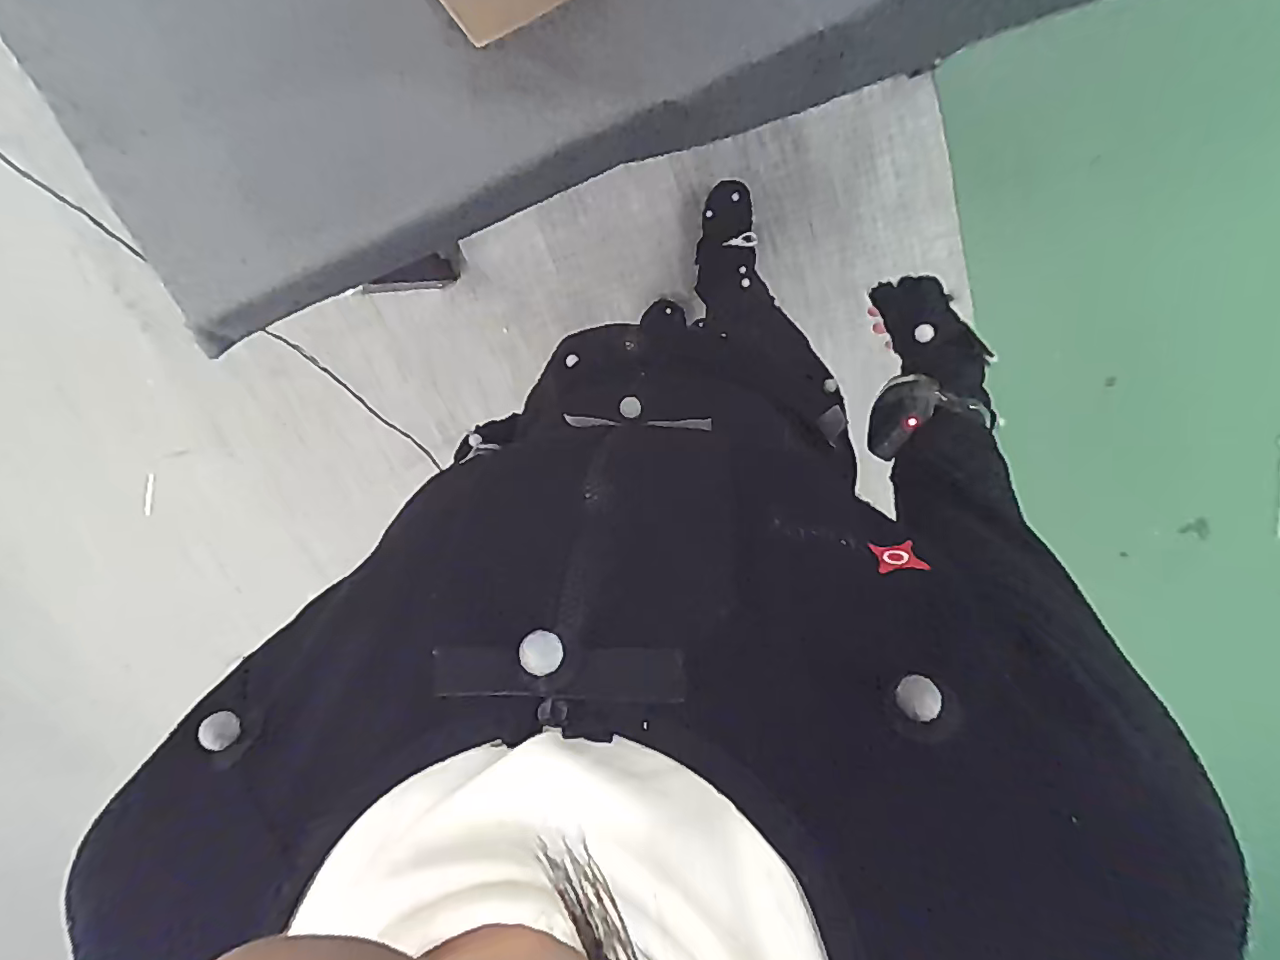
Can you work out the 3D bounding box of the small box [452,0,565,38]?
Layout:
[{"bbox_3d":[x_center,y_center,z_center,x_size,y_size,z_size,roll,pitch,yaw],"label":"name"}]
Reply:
[{"bbox_3d":[-0.112,-0.505,0.428,0.179,0.176,0.168,-21,109,9],"label":"small box"}]
